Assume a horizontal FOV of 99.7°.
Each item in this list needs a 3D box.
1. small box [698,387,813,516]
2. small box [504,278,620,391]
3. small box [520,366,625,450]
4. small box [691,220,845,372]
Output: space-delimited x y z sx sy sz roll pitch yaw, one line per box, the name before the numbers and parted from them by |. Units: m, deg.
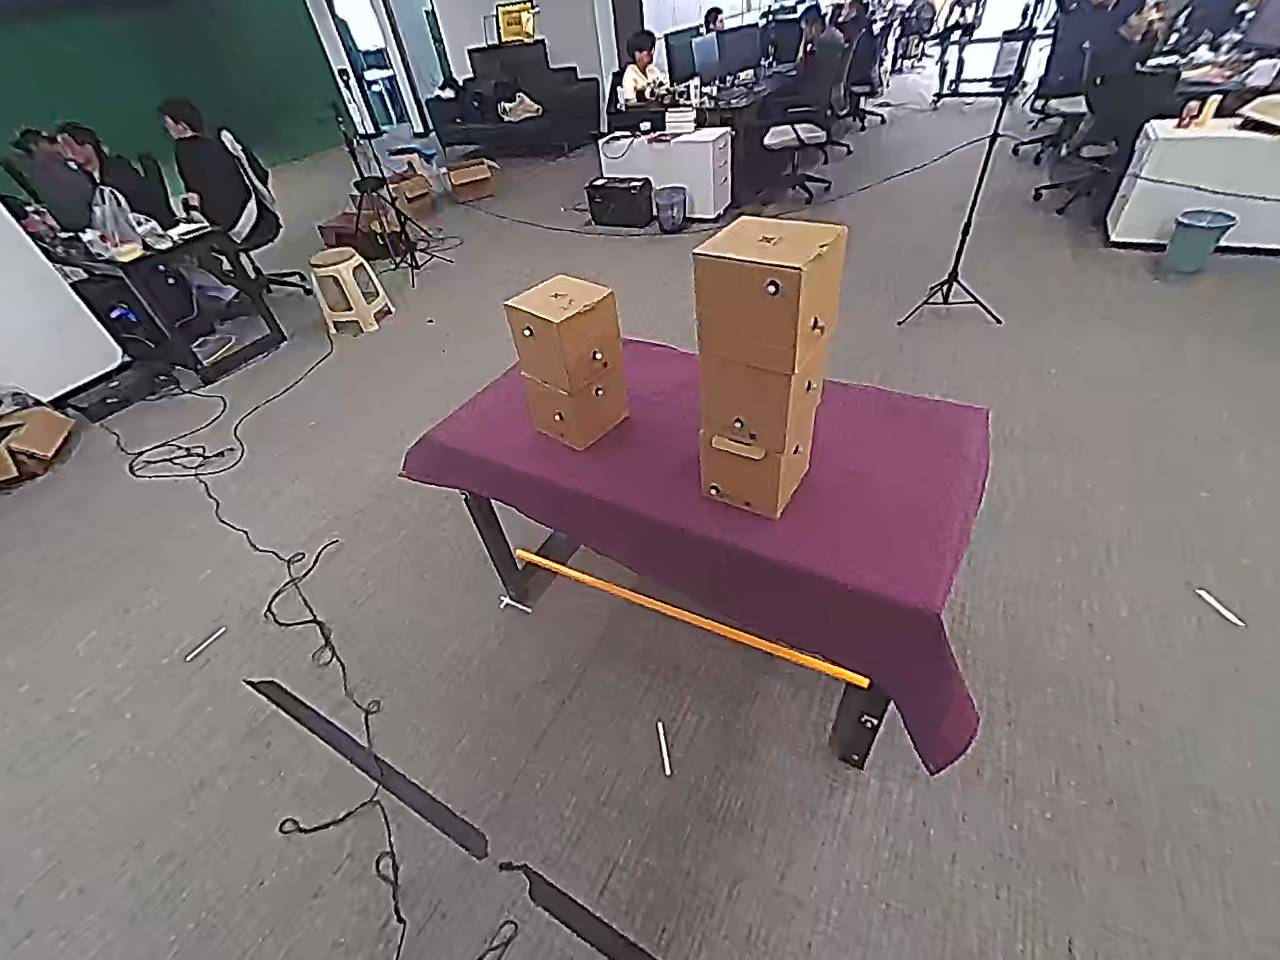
small box | 0.230 -0.056 1.076 0.168 0.176 0.179 19 48 27
small box | -0.164 -0.318 1.185 0.179 0.176 0.168 29 54 32
small box | -0.153 -0.199 1.297 0.168 0.176 0.179 27 53 32
small box | 0.198 -0.291 0.852 0.179 0.176 0.168 22 51 29
